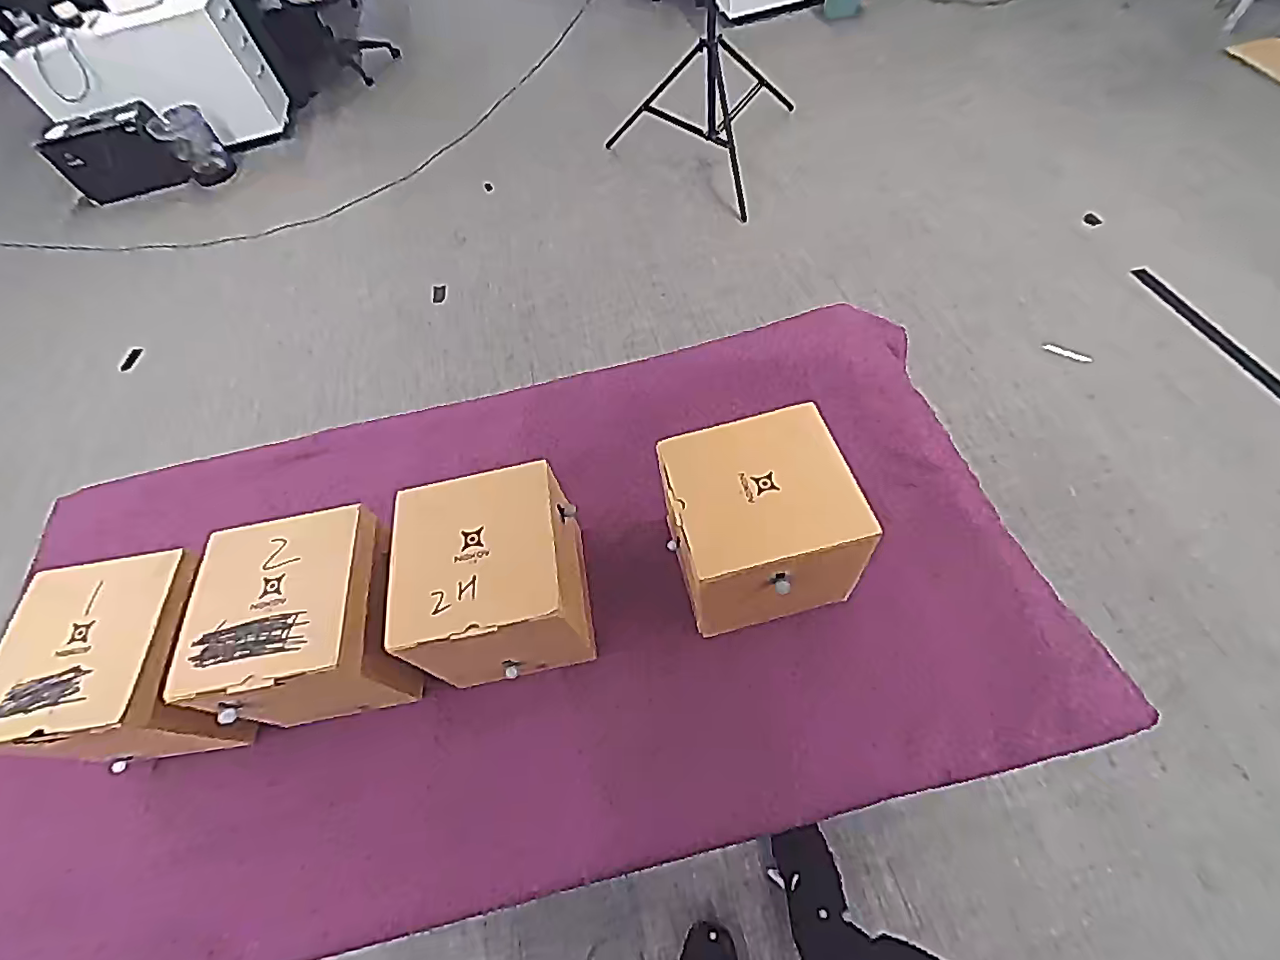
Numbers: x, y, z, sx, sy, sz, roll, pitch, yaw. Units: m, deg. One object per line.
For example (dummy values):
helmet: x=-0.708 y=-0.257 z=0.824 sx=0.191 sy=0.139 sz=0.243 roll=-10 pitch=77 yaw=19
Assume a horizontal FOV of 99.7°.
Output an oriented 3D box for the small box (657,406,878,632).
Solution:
small box: x=0.127 y=0.050 z=0.597 sx=0.179 sy=0.176 sz=0.168 roll=-15 pitch=56 yaw=0
